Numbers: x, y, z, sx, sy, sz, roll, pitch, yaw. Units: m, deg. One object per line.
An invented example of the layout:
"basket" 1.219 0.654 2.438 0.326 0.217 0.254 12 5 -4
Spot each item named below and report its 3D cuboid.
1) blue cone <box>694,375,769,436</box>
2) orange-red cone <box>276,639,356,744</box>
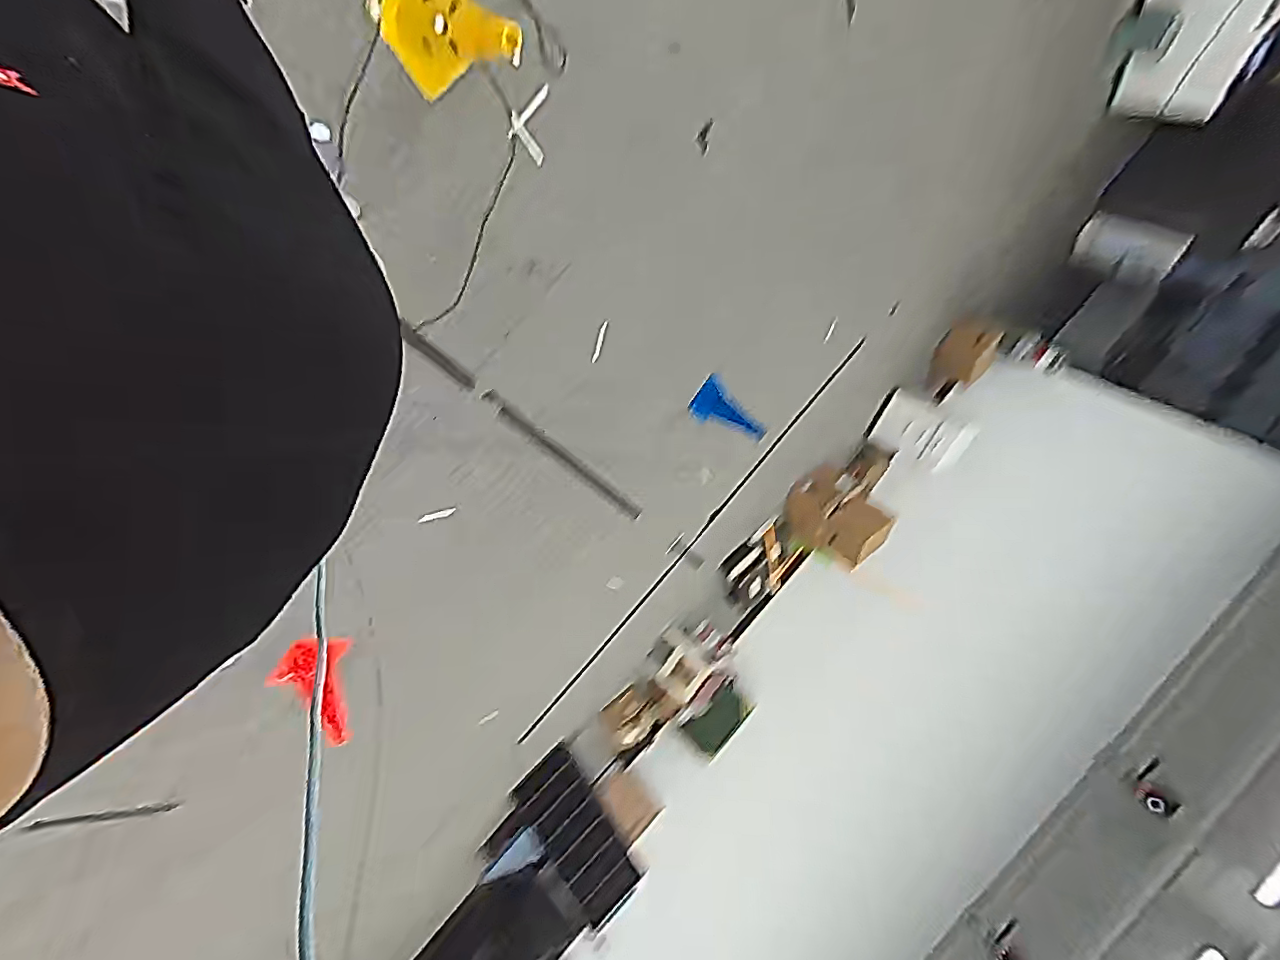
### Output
"blue cone" 0.452 -0.319 2.519 0.192 0.380 0.193 -52 147 4
"orange-red cone" -1.048 0.740 1.840 0.198 0.360 0.199 -51 148 4
